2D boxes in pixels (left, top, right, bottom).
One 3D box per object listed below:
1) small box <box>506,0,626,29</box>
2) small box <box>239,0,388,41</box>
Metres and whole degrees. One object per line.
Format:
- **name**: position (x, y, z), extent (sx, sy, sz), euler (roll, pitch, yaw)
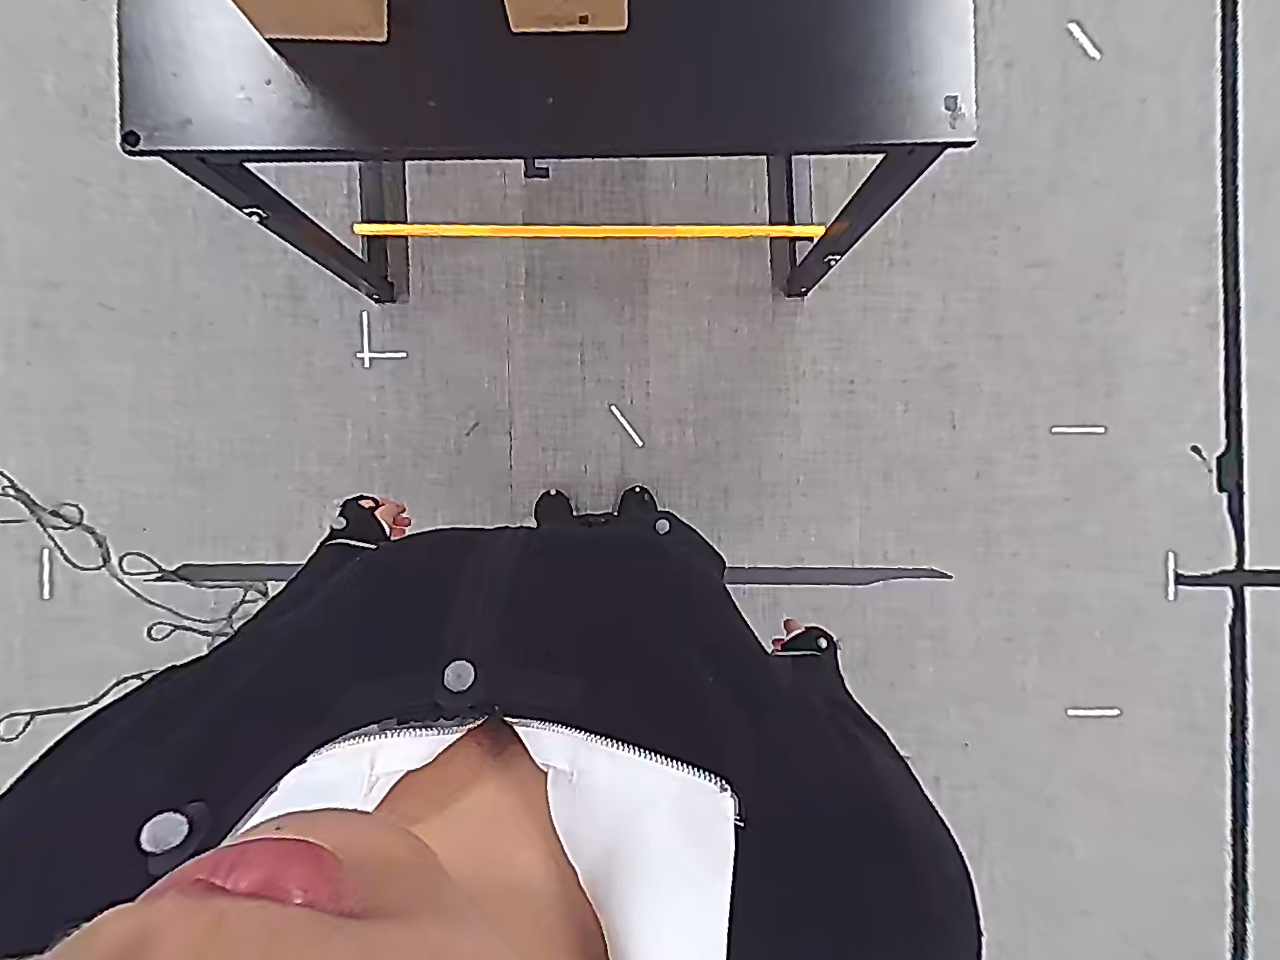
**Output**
- **small box**: position (-0.103, -0.722, 0.689), extent (0.168, 0.176, 0.179), euler (-2, 90, -1)
- **small box**: position (-0.440, -0.700, 0.680), extent (0.179, 0.176, 0.168), euler (0, 90, -2)
